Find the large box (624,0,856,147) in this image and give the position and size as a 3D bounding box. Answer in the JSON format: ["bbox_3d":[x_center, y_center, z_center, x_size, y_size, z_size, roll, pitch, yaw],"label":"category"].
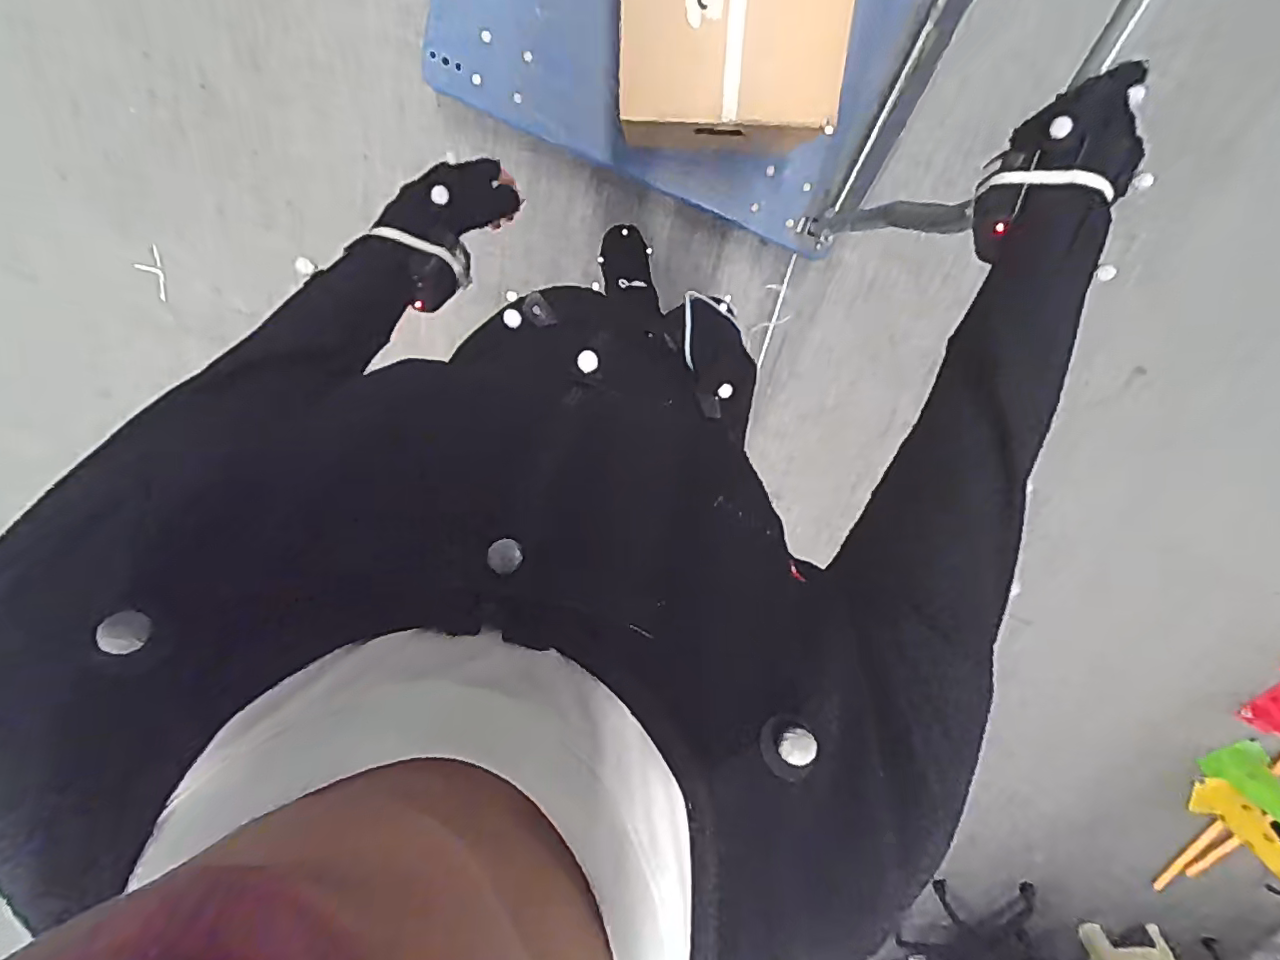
[{"bbox_3d":[0.137,-0.762,0.824,0.320,0.320,0.408,3,117,0],"label":"large box"}]
